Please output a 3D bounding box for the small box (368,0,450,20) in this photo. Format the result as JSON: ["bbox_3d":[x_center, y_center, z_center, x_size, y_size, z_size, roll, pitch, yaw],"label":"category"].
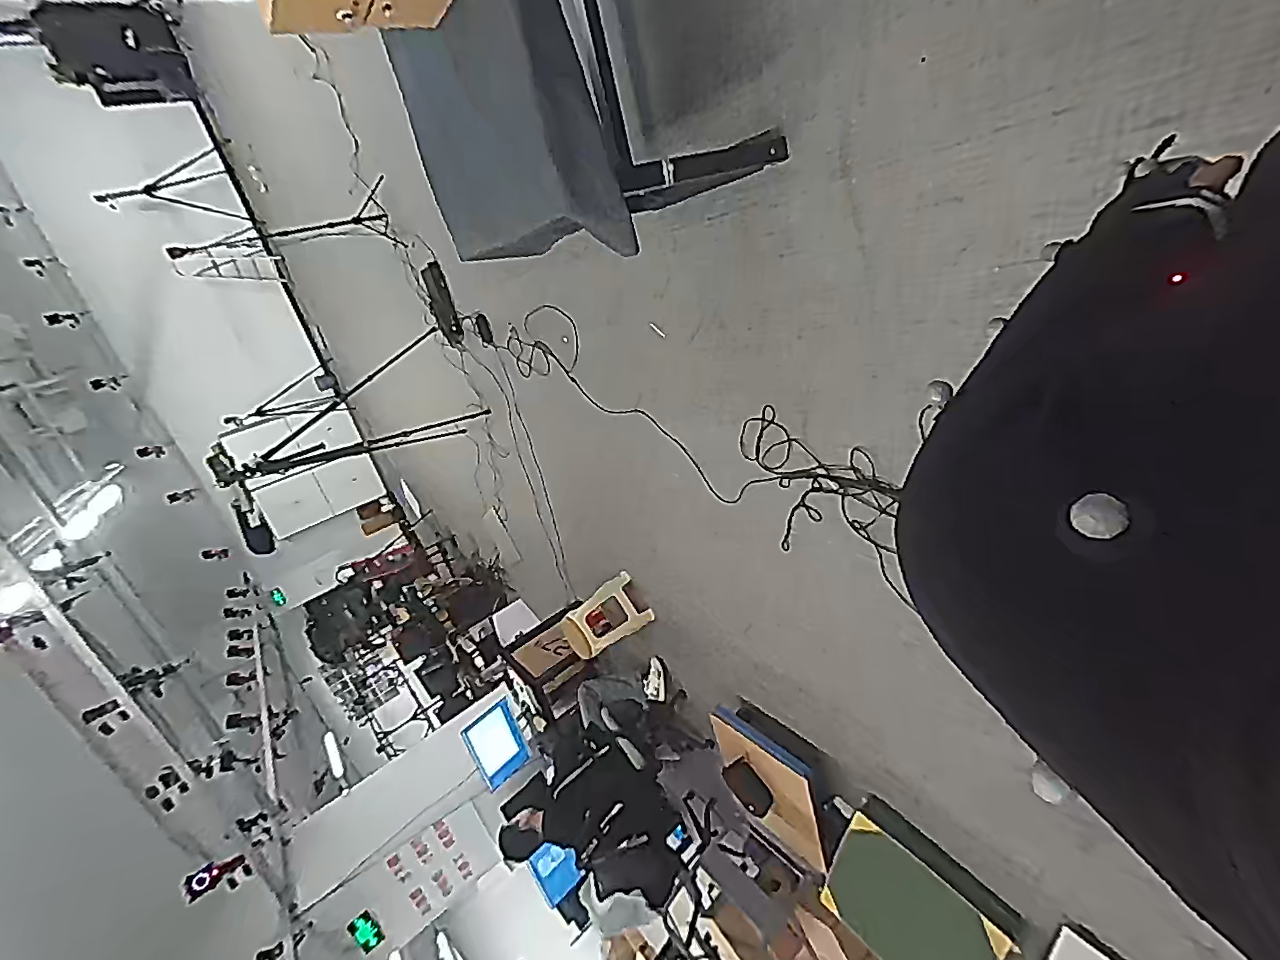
[{"bbox_3d":[-0.453,-0.989,1.001,0.179,0.176,0.168,14,127,51],"label":"small box"}]

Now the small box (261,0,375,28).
[{"bbox_3d":[-0.574,-0.914,0.922,0.168,0.176,0.179,14,128,53],"label":"small box"}]
